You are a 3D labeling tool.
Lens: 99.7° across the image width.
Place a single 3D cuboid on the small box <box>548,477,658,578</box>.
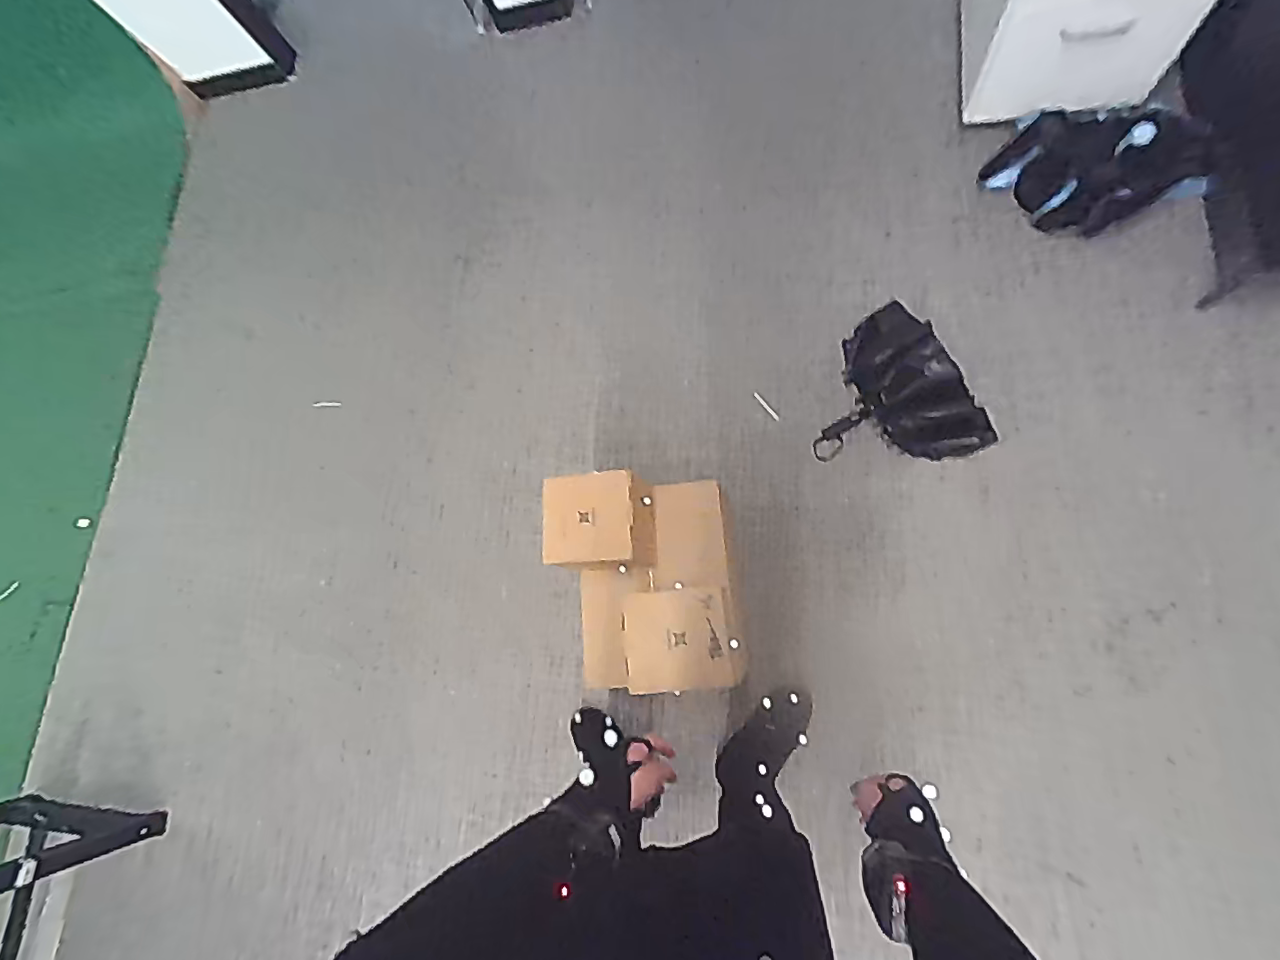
[{"bbox_3d":[-0.066,0.100,1.066,0.179,0.176,0.168,-7,73,17],"label":"small box"}]
